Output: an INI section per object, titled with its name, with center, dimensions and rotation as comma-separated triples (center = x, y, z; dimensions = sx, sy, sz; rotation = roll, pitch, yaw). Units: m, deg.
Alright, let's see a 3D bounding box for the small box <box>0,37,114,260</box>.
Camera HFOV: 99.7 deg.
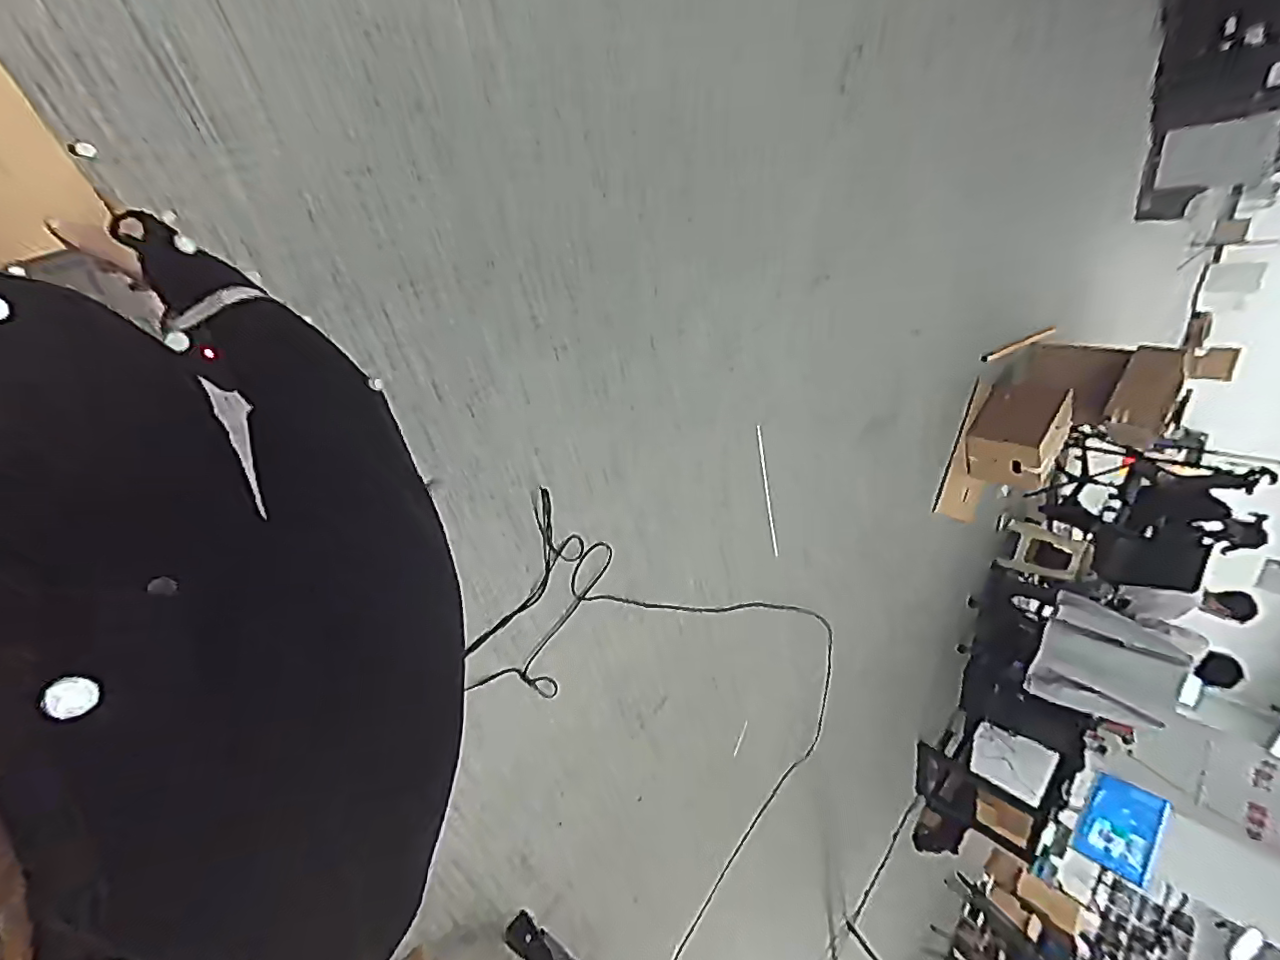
[small box]
center = -0.603, -0.283, 0.459
dimensions = 0.179, 0.176, 0.168
rotation = -33, 136, -24
